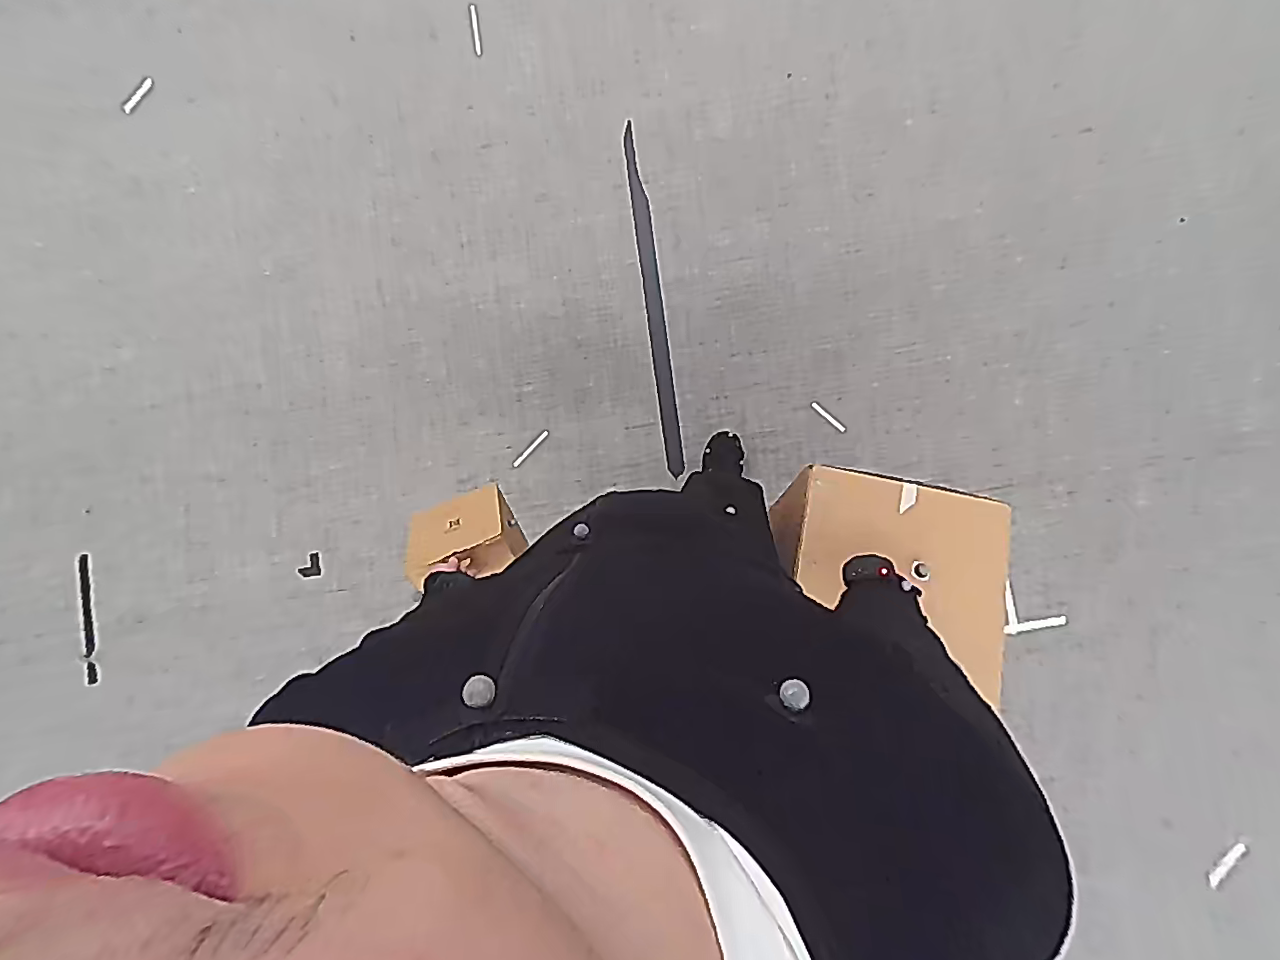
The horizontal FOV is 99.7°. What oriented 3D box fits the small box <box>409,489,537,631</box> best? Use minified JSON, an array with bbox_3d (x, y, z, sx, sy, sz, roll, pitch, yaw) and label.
[{"bbox_3d":[-0.299,0.150,0.990,0.168,0.179,0.176,-22,122,-6],"label":"small box"}]
